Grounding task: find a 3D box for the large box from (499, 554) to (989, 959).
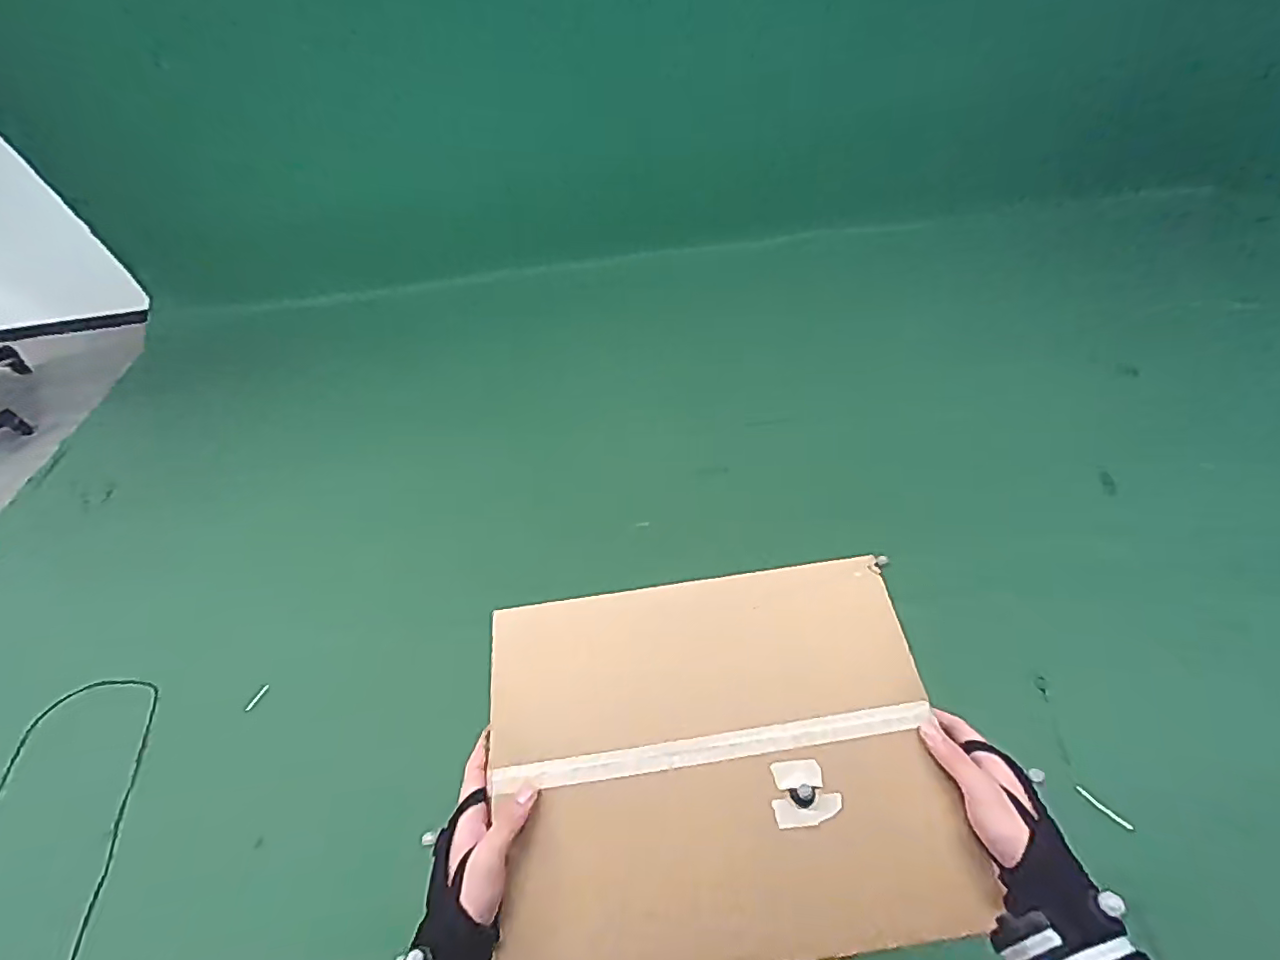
[{"bbox_3d":[0.074,0.316,0.634,0.408,0.320,0.320,-8,61,-2],"label":"large box"}]
